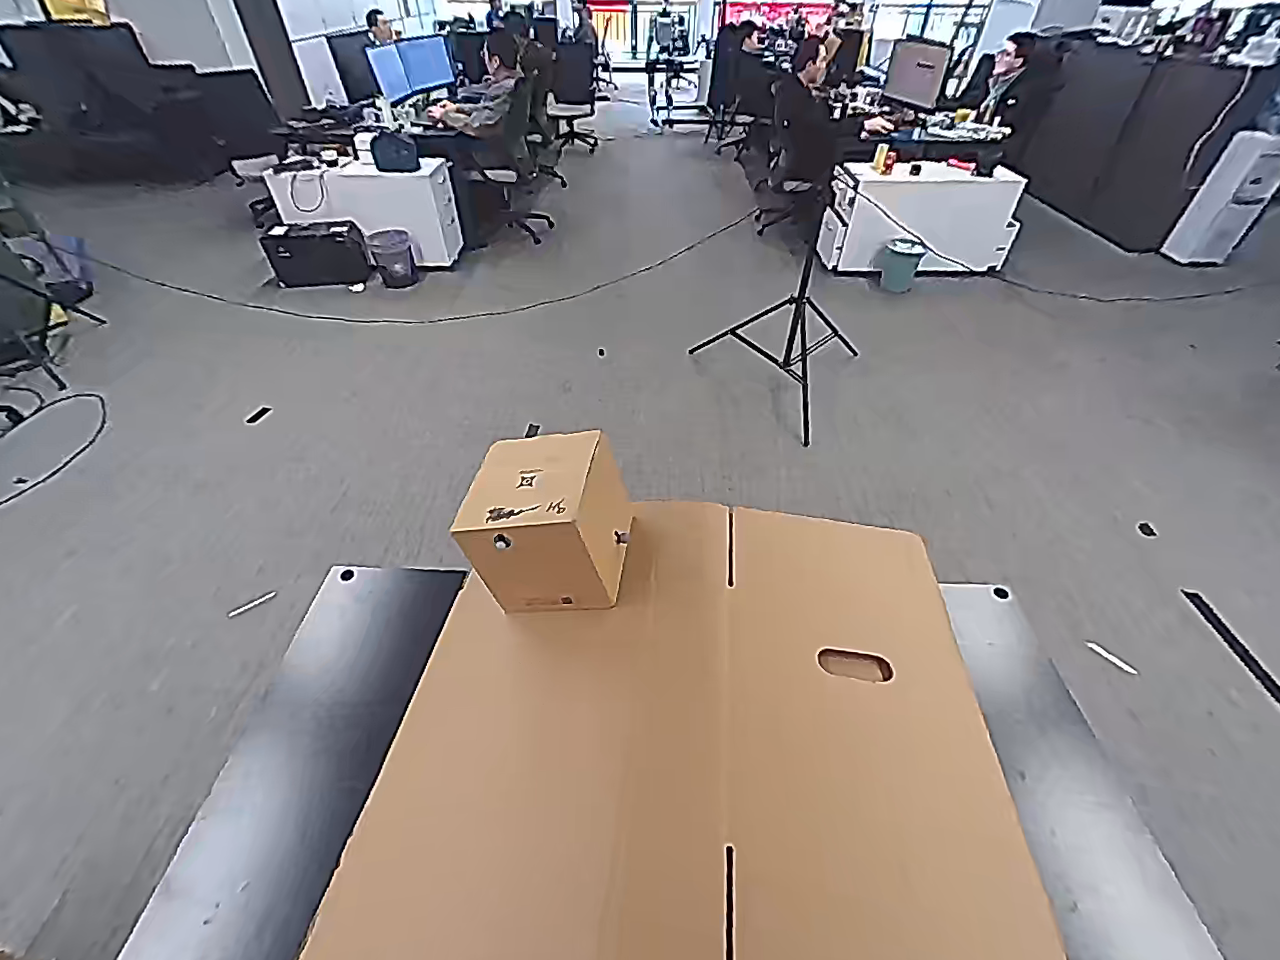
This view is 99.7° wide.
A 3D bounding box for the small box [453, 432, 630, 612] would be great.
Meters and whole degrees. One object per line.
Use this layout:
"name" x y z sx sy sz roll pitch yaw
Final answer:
"small box" -0.119 0.059 0.741 0.168 0.176 0.179 -6 40 15
